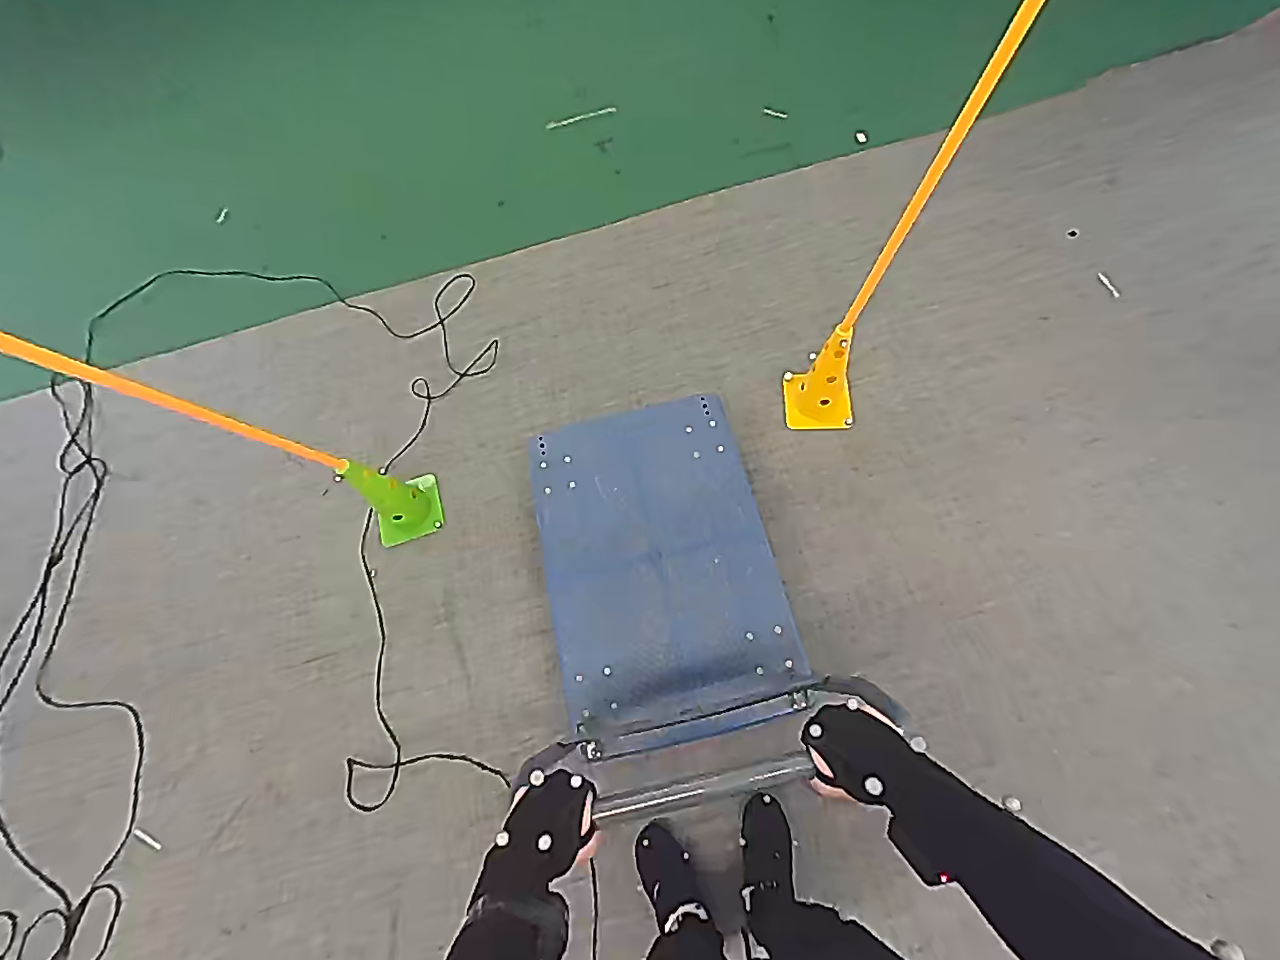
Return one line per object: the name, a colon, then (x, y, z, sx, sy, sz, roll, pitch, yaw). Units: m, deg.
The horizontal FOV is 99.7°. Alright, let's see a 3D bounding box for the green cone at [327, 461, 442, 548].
green cone: (-0.750, 0.030, 1.538, 0.202, 0.368, 0.200, -20, 66, 0)
